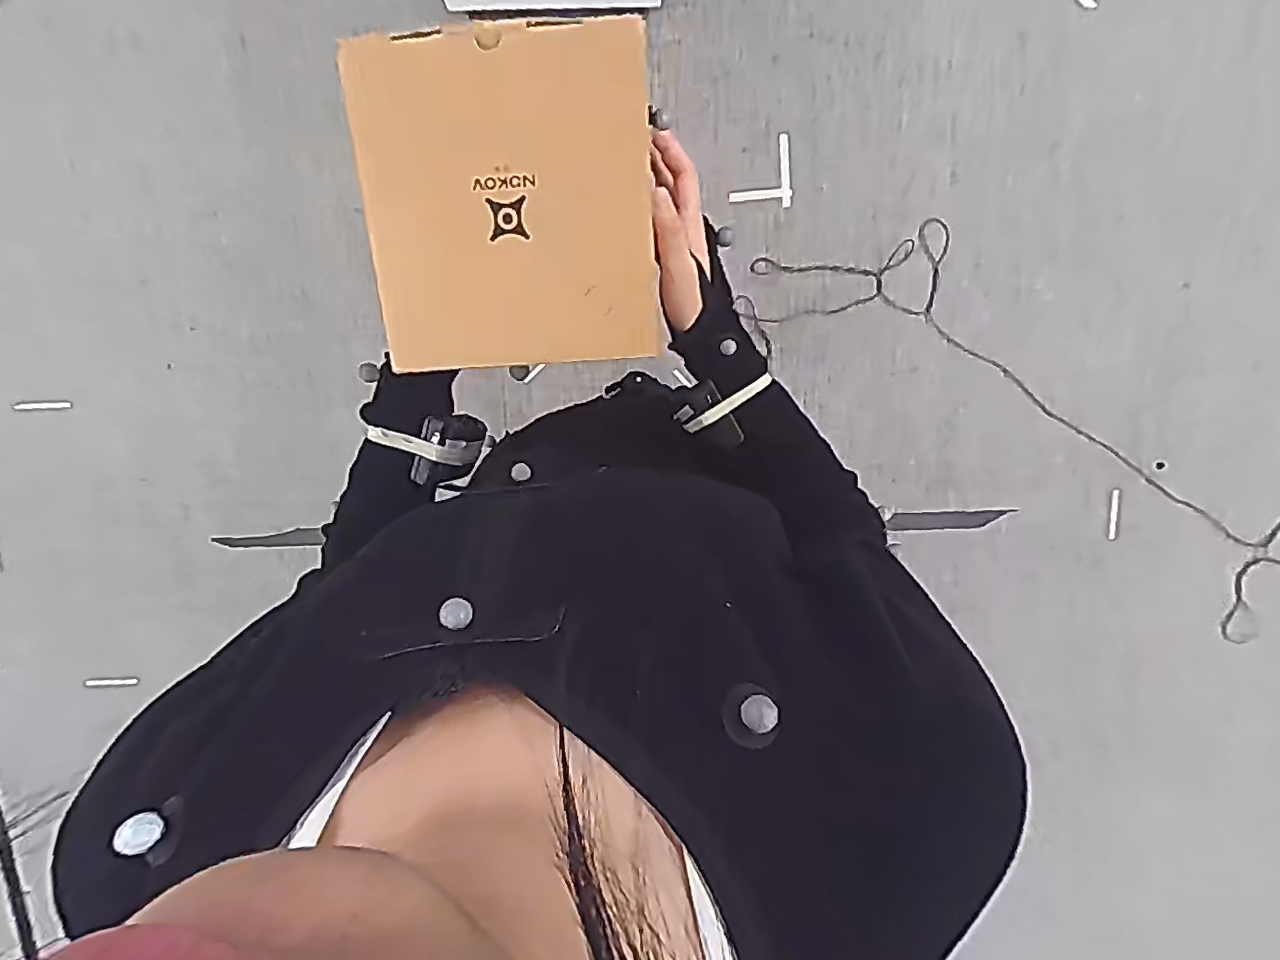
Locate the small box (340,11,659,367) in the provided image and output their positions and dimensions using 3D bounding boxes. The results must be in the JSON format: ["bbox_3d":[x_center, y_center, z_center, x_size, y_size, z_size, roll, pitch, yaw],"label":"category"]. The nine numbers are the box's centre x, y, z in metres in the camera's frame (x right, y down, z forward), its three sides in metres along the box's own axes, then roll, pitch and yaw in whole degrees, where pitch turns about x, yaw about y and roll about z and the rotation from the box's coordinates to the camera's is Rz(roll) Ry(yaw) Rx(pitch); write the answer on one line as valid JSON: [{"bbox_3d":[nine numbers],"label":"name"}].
[{"bbox_3d":[-0.072,-0.180,0.385,0.168,0.176,0.179,-3,105,3],"label":"small box"}]
